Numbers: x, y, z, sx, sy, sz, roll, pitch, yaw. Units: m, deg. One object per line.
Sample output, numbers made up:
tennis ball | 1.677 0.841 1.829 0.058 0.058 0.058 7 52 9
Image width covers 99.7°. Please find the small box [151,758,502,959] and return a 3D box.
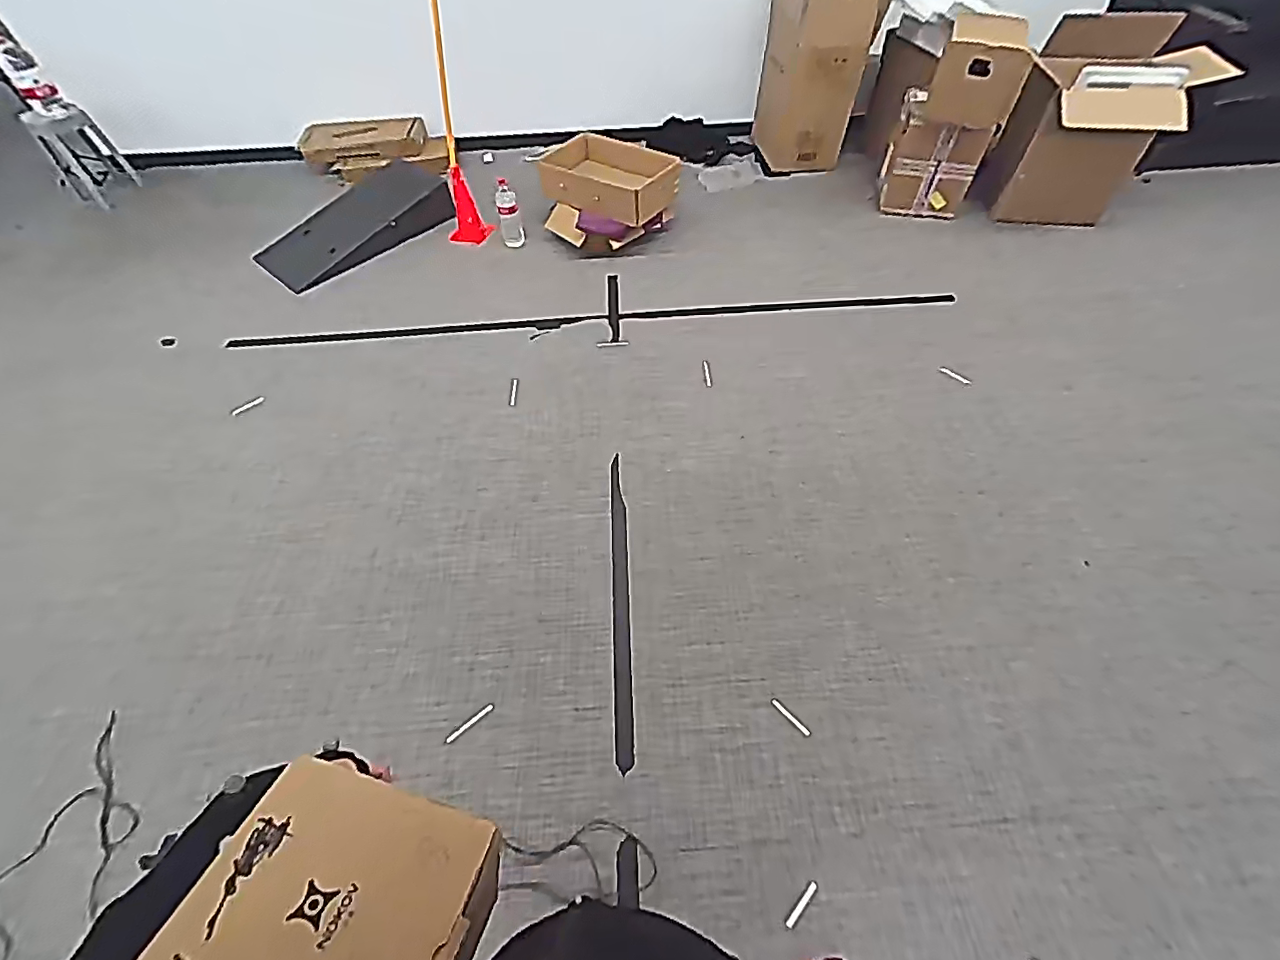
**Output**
small box | -0.222 0.355 0.413 0.179 0.176 0.168 17 37 4
